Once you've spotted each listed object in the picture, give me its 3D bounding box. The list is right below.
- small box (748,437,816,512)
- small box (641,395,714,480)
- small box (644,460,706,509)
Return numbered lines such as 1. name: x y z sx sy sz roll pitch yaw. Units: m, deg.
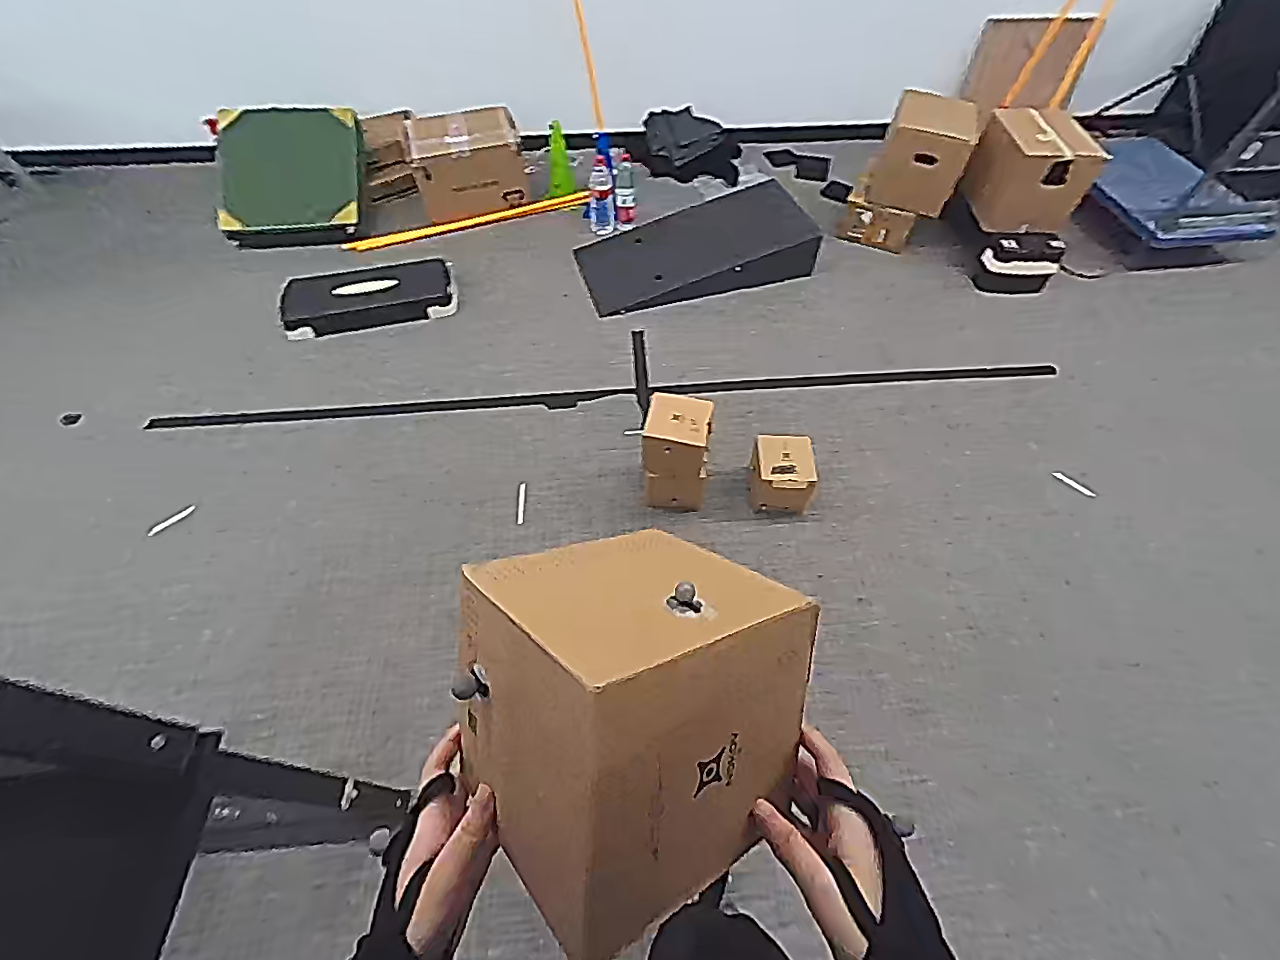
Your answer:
1. small box: 0.438 -0.013 1.691 0.168 0.176 0.179 3 55 1
2. small box: 0.106 -0.118 1.557 0.179 0.176 0.168 12 57 8
3. small box: 0.106 -0.022 1.692 0.179 0.176 0.168 2 55 0
